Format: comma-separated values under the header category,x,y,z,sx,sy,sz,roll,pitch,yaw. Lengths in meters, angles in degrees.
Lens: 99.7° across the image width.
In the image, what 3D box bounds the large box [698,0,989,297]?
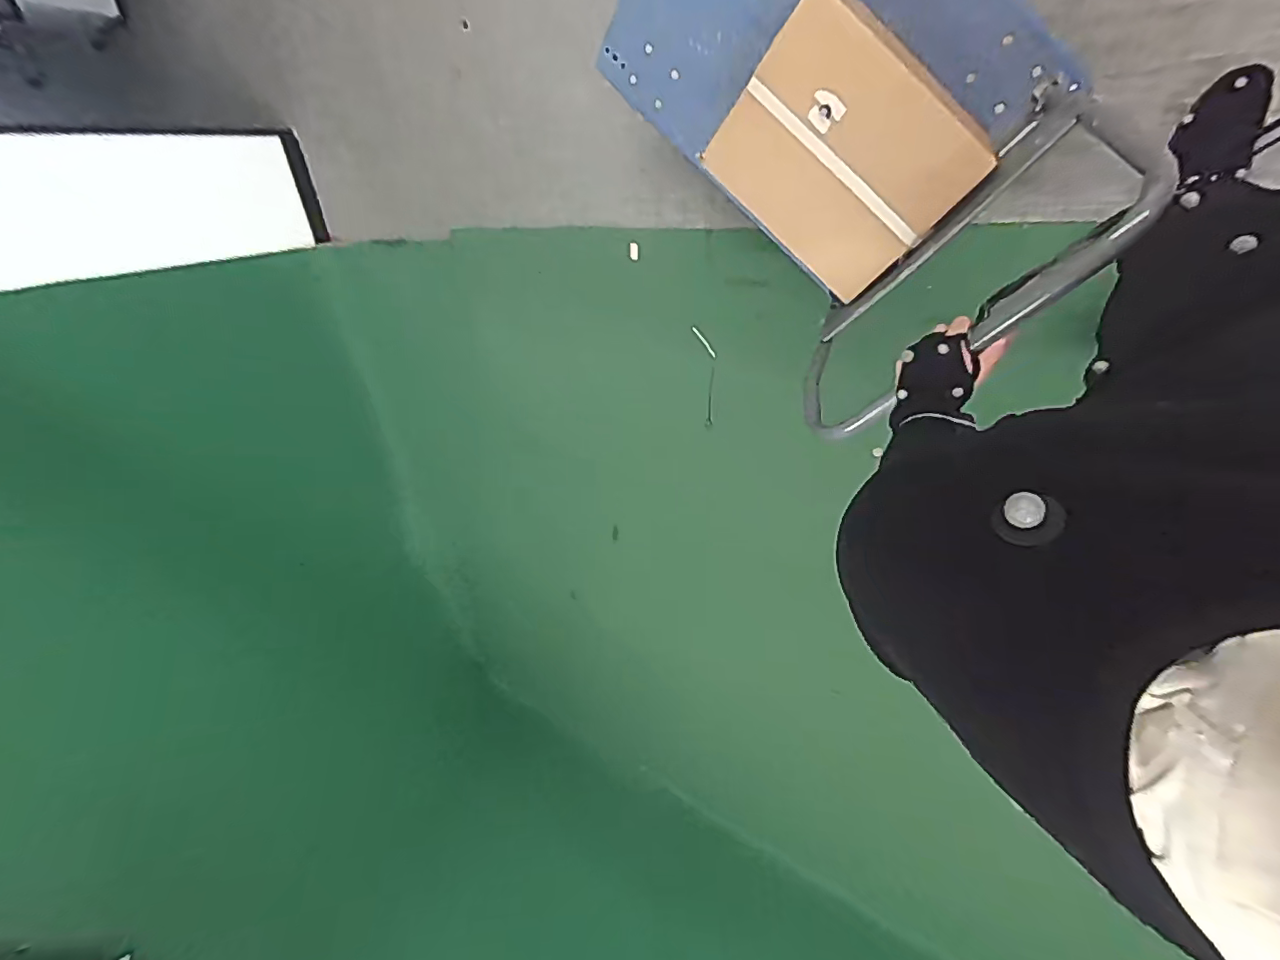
category,x,y,z,sx,sy,sz,roll,pitch,yaw
large box,0.400,-0.645,1.055,0.408,0.320,0.320,42,134,-4
